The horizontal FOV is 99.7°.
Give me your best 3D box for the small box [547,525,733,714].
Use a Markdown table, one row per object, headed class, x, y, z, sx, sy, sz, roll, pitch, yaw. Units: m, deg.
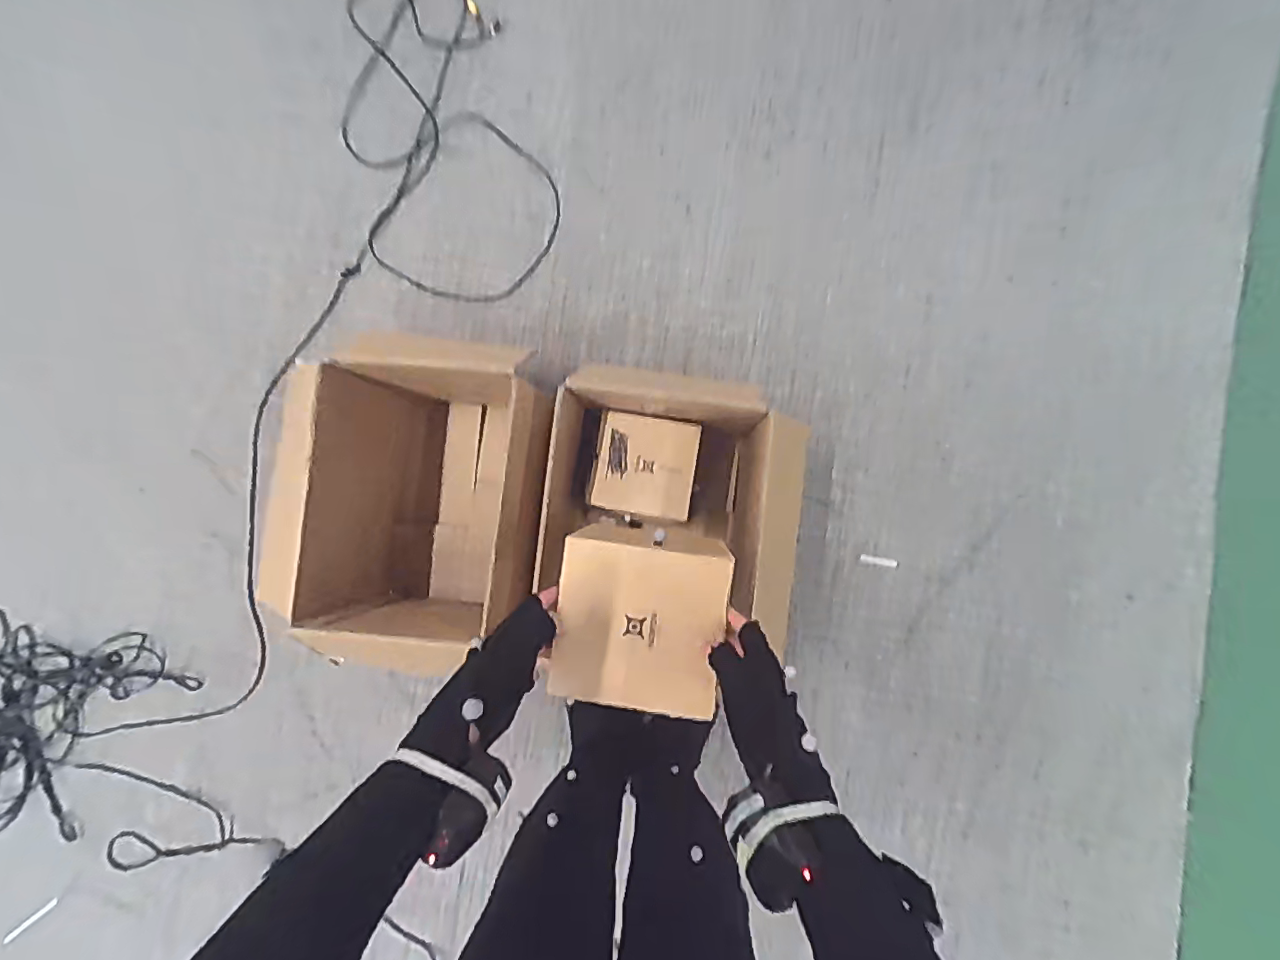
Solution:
| class | x | y | z | sx | sy | sz | roll | pitch | yaw |
| --- | --- | --- | --- | --- | --- | --- | --- | --- | --- |
| small box | 0.004 | 0.147 | 0.633 | 0.179 | 0.176 | 0.168 | 7 | 90 | 3 |
